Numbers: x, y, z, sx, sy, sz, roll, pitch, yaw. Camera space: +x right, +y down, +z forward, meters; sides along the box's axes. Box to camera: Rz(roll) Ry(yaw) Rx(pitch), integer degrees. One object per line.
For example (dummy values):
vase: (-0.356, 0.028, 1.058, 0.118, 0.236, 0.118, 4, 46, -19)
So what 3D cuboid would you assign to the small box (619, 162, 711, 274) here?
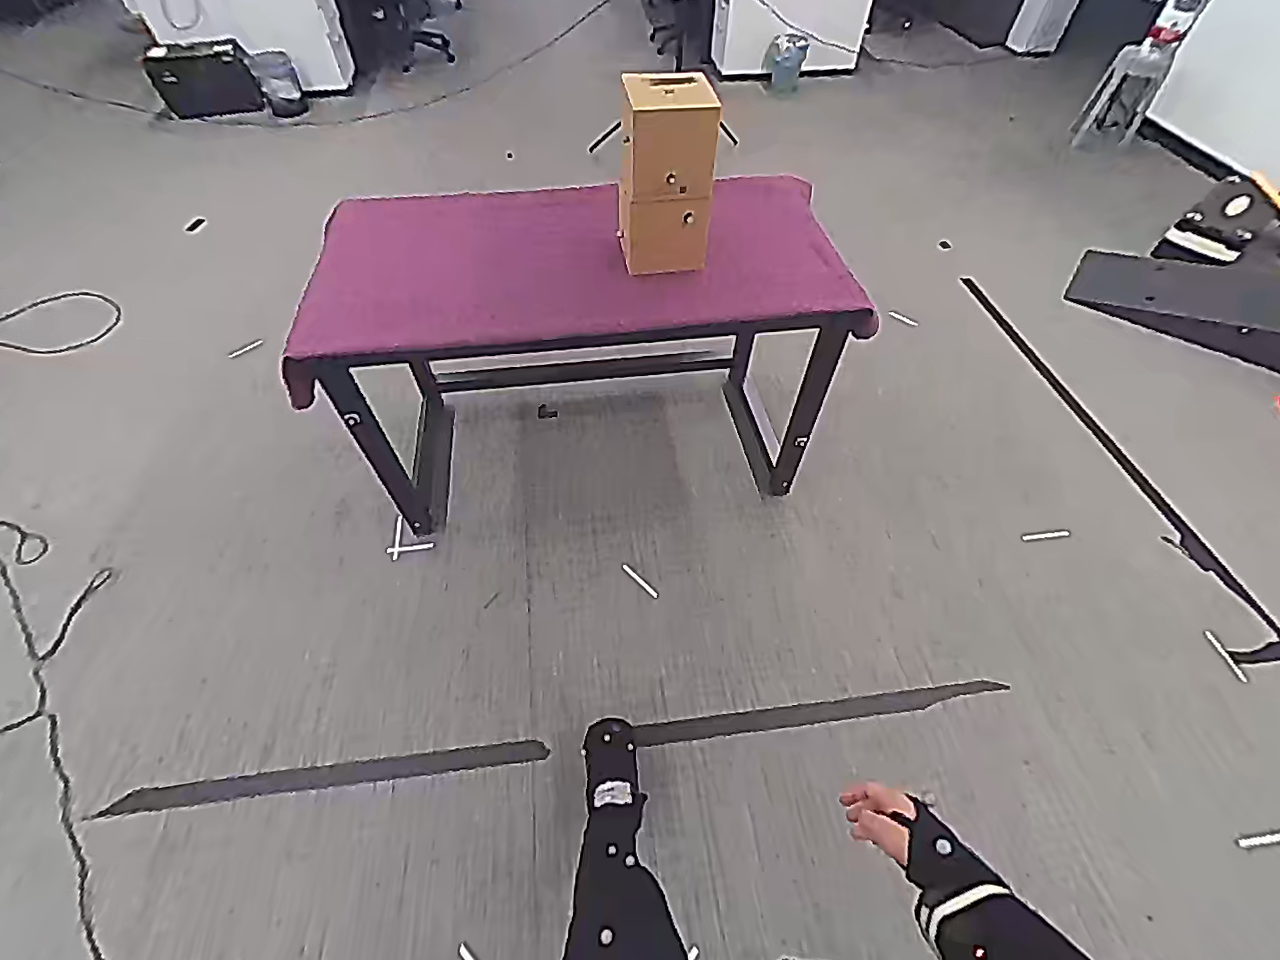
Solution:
small box: (0.049, -0.586, 1.215, 0.179, 0.176, 0.168, -8, 53, -5)
